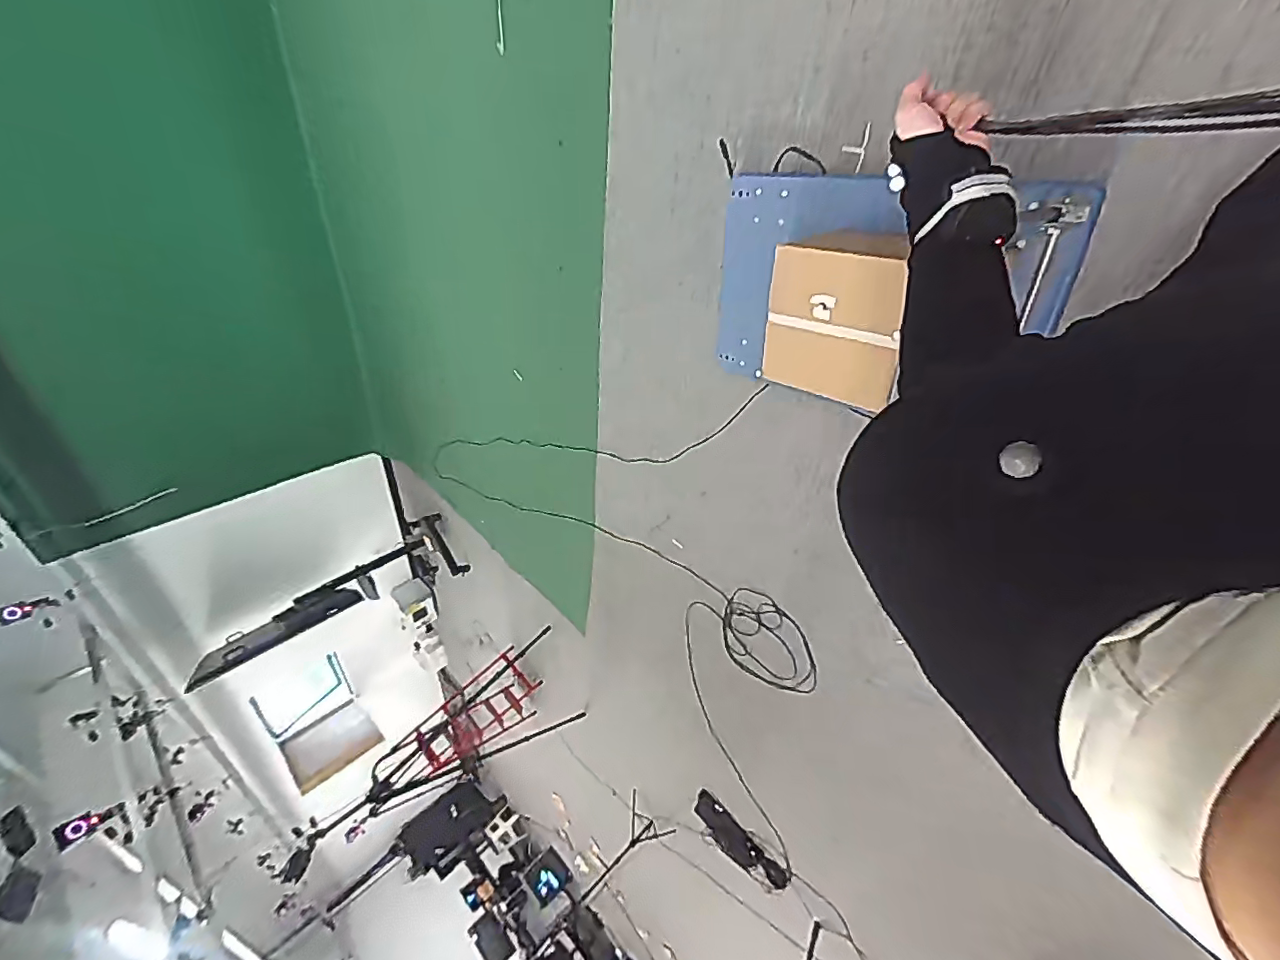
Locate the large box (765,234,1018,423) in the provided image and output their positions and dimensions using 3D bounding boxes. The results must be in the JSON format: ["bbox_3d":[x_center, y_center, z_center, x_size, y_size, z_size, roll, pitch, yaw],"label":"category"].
[{"bbox_3d":[0.554,-0.369,1.236,0.408,0.320,0.320,28,131,38],"label":"large box"}]
